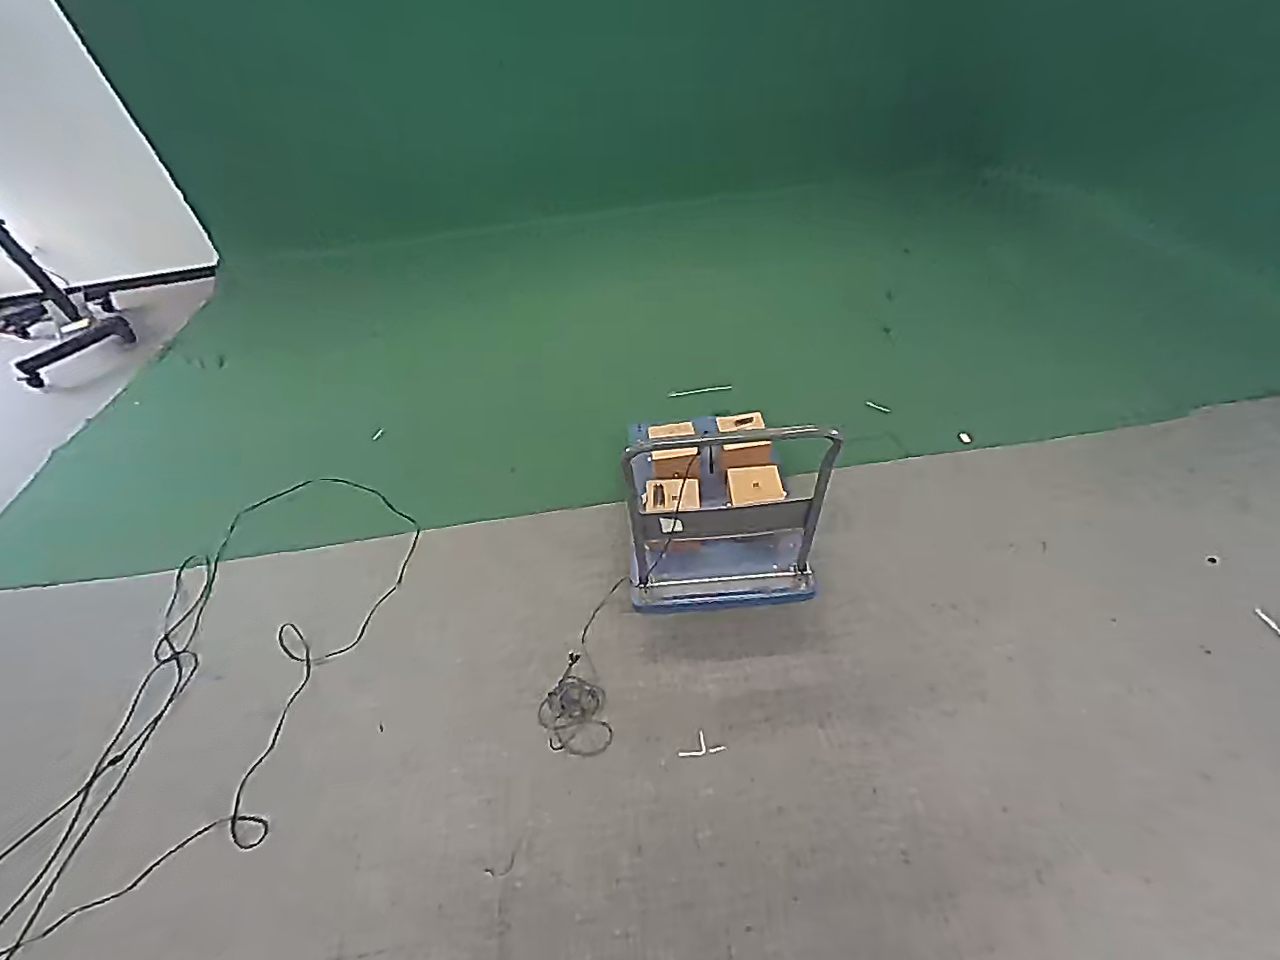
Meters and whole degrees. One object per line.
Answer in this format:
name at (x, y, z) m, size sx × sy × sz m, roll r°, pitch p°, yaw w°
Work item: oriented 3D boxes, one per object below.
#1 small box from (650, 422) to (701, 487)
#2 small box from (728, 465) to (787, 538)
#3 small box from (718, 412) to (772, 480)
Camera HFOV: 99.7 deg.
small box at (0.131, -0.087, 1.991) m, size 0.168 × 0.176 × 0.179 m, roll -8°, pitch 46°, yaw 0°
small box at (0.387, 0.073, 1.803) m, size 0.168 × 0.176 × 0.179 m, roll -5°, pitch 47°, yaw 4°
small box at (0.380, -0.124, 1.988) m, size 0.168 × 0.176 × 0.179 m, roll -8°, pitch 47°, yaw 2°
